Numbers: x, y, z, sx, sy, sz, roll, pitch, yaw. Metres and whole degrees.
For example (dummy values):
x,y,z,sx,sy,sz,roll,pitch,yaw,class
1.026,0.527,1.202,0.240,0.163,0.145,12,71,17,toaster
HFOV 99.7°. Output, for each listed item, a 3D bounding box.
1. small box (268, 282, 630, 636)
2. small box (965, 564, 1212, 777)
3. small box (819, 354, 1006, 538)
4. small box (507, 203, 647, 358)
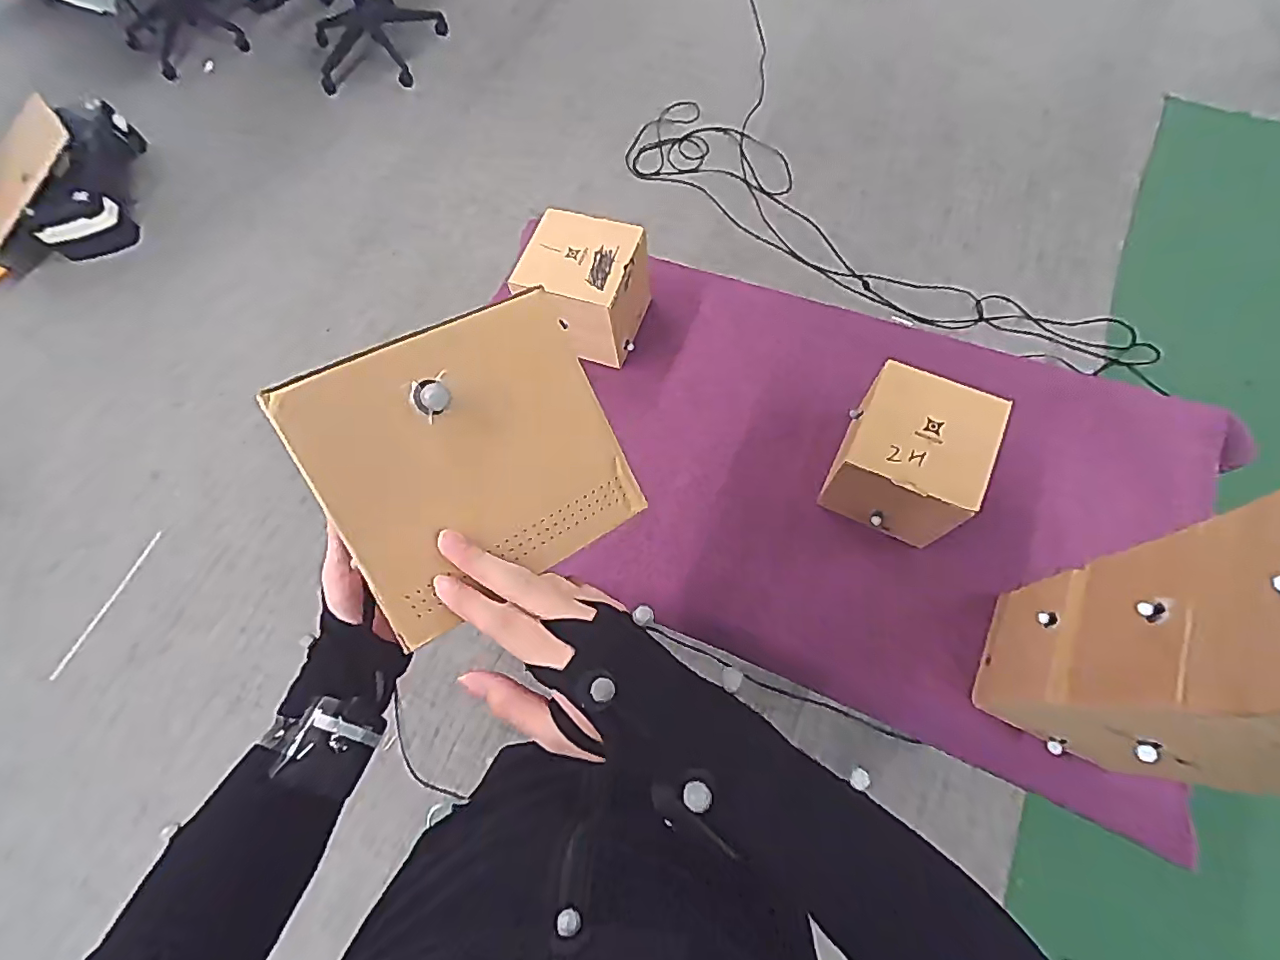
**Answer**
x,y,z,sx,sy,sz,roll,pitch,yaw,class
-0.127,-0.016,0.404,0.179,0.168,0.176,-32,103,-22,small box
0.544,0.227,0.661,0.179,0.176,0.168,25,71,13,small box
0.378,-0.041,0.780,0.168,0.176,0.179,25,73,14,small box
-0.095,-0.333,0.927,0.179,0.176,0.168,17,71,11,small box
